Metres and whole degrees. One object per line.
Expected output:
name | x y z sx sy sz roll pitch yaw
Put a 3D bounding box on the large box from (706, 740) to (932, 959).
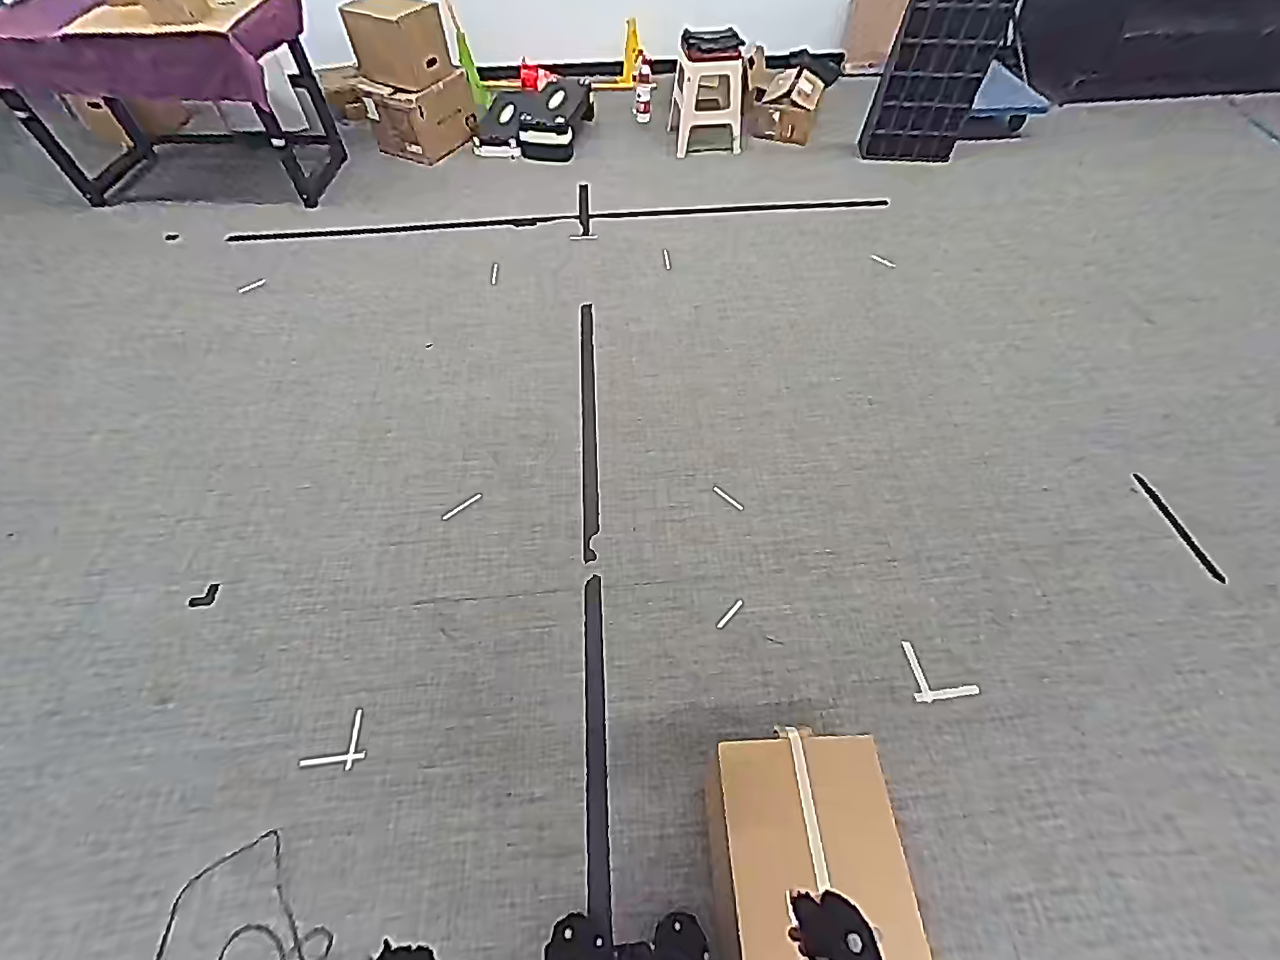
large box | 0.323 0.773 1.092 0.320 0.320 0.408 -1 55 -1
